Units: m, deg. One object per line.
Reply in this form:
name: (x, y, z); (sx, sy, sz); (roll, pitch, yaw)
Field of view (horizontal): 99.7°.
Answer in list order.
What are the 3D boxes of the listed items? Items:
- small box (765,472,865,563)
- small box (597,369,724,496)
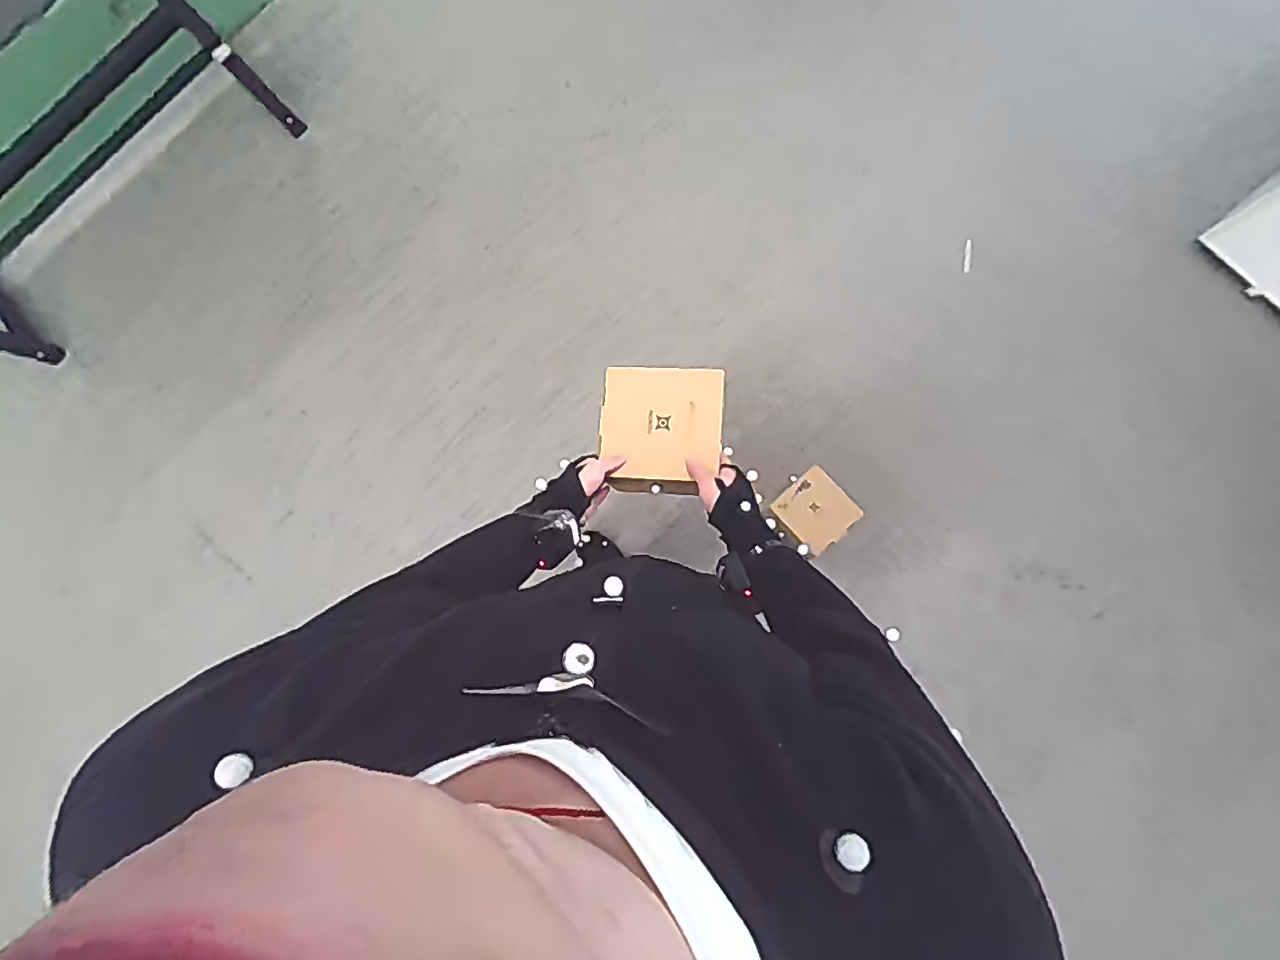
small box: (0.458, 0.101, 1.443); (0.168, 0.176, 0.179); (-41, 82, 0)
small box: (0.038, -0.067, 0.851); (0.179, 0.176, 0.168); (2, 82, 6)
